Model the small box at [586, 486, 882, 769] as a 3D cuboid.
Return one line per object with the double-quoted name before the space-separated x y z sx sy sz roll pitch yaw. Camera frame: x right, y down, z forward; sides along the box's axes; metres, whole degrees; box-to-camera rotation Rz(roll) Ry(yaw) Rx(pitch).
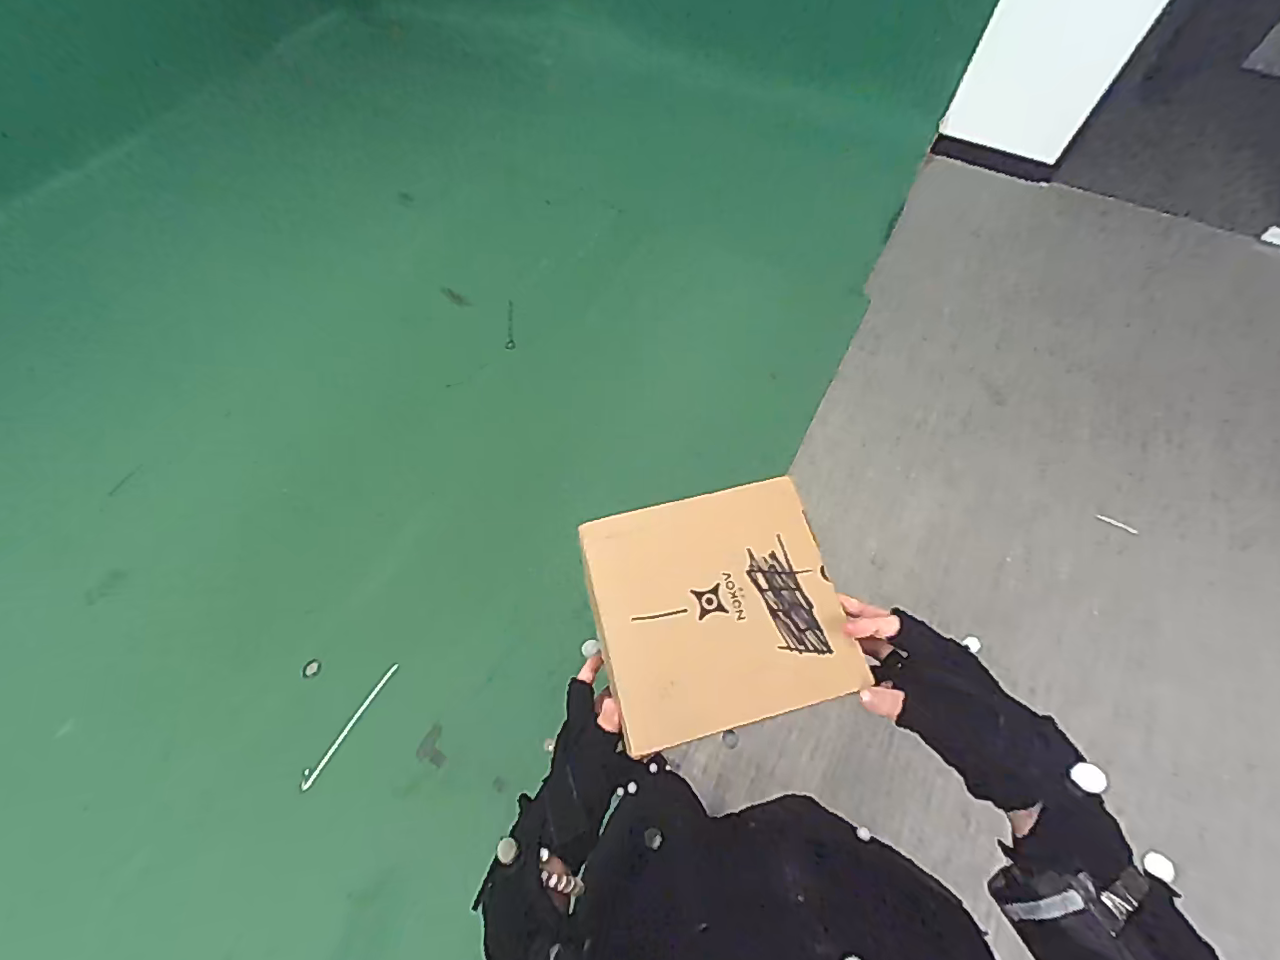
"small box" 0.056 0.124 0.449 0.179 0.176 0.168 -11 66 -8
